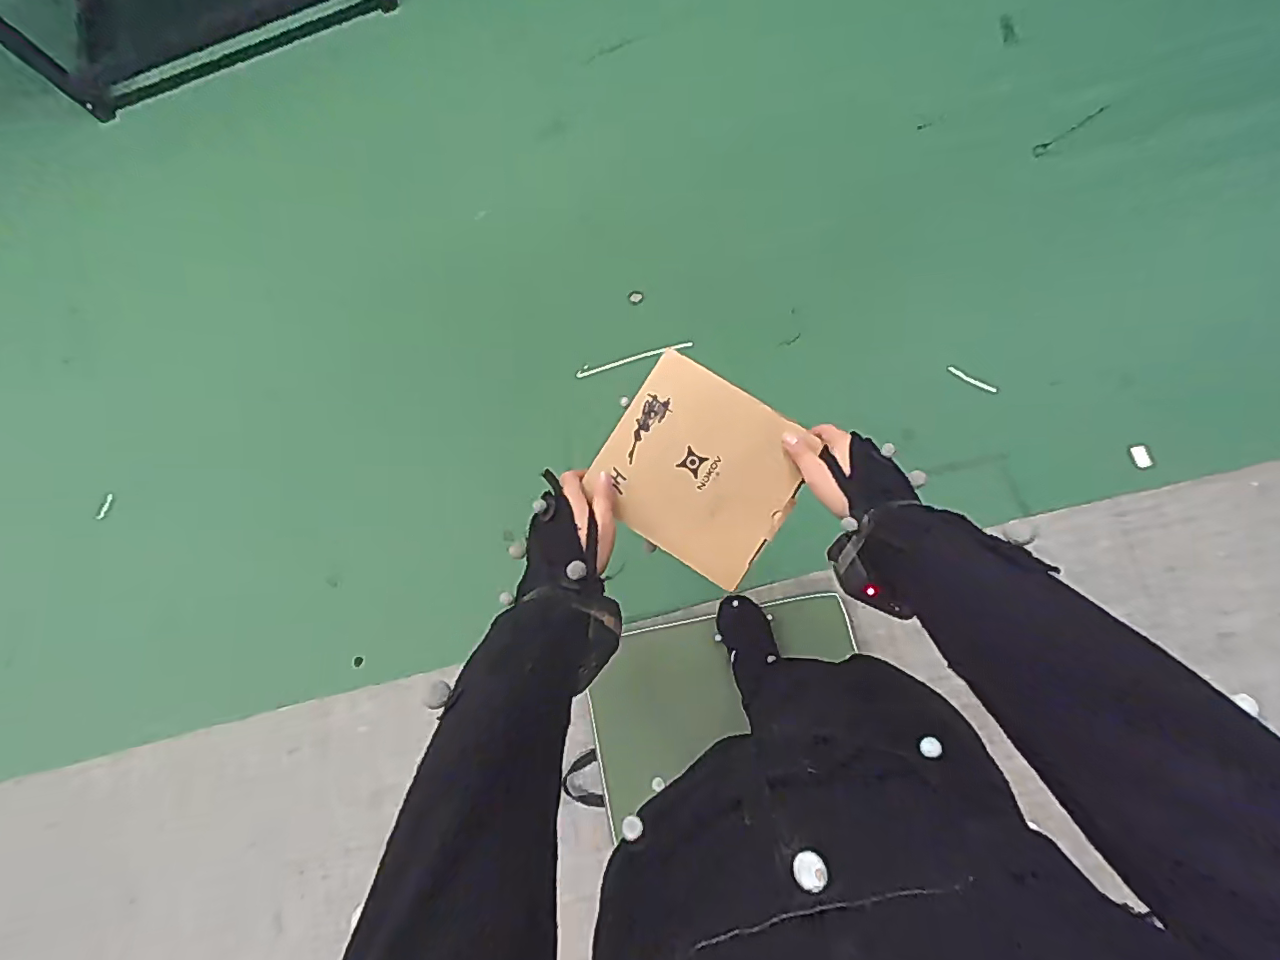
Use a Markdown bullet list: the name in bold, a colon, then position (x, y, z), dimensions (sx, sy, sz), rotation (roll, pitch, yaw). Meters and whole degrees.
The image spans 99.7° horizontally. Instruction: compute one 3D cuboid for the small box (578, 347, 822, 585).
- **small box**: position (0.058, -0.011, 0.587), dimensions (0.179, 0.176, 0.168), rotation (33, 87, 4)
